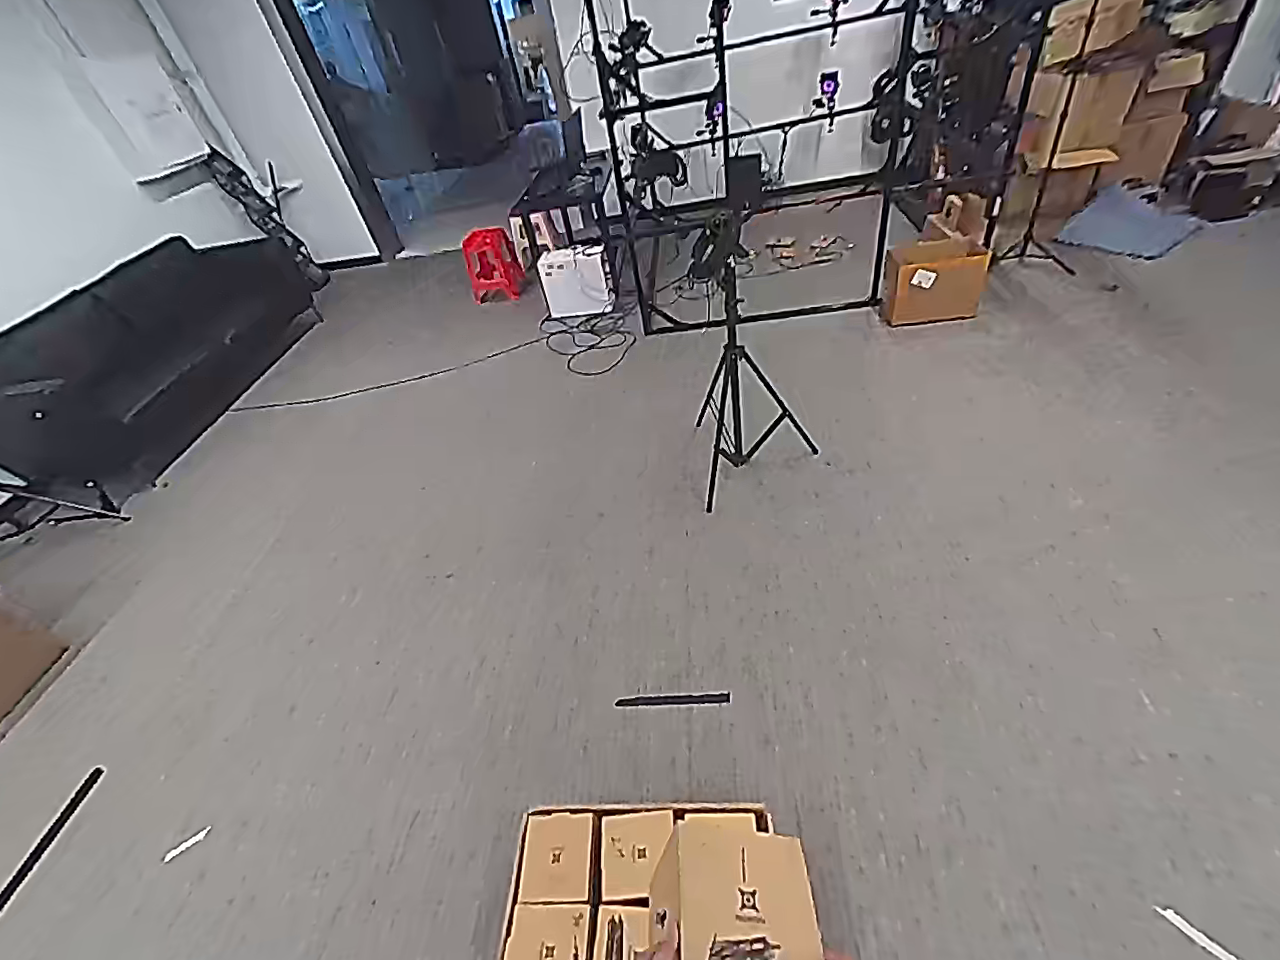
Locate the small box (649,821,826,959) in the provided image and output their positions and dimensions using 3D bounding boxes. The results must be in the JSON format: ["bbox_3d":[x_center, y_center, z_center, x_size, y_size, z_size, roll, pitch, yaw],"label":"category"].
[{"bbox_3d":[0.107,0.554,0.649,0.168,0.176,0.179,11,29,-4],"label":"small box"}]
